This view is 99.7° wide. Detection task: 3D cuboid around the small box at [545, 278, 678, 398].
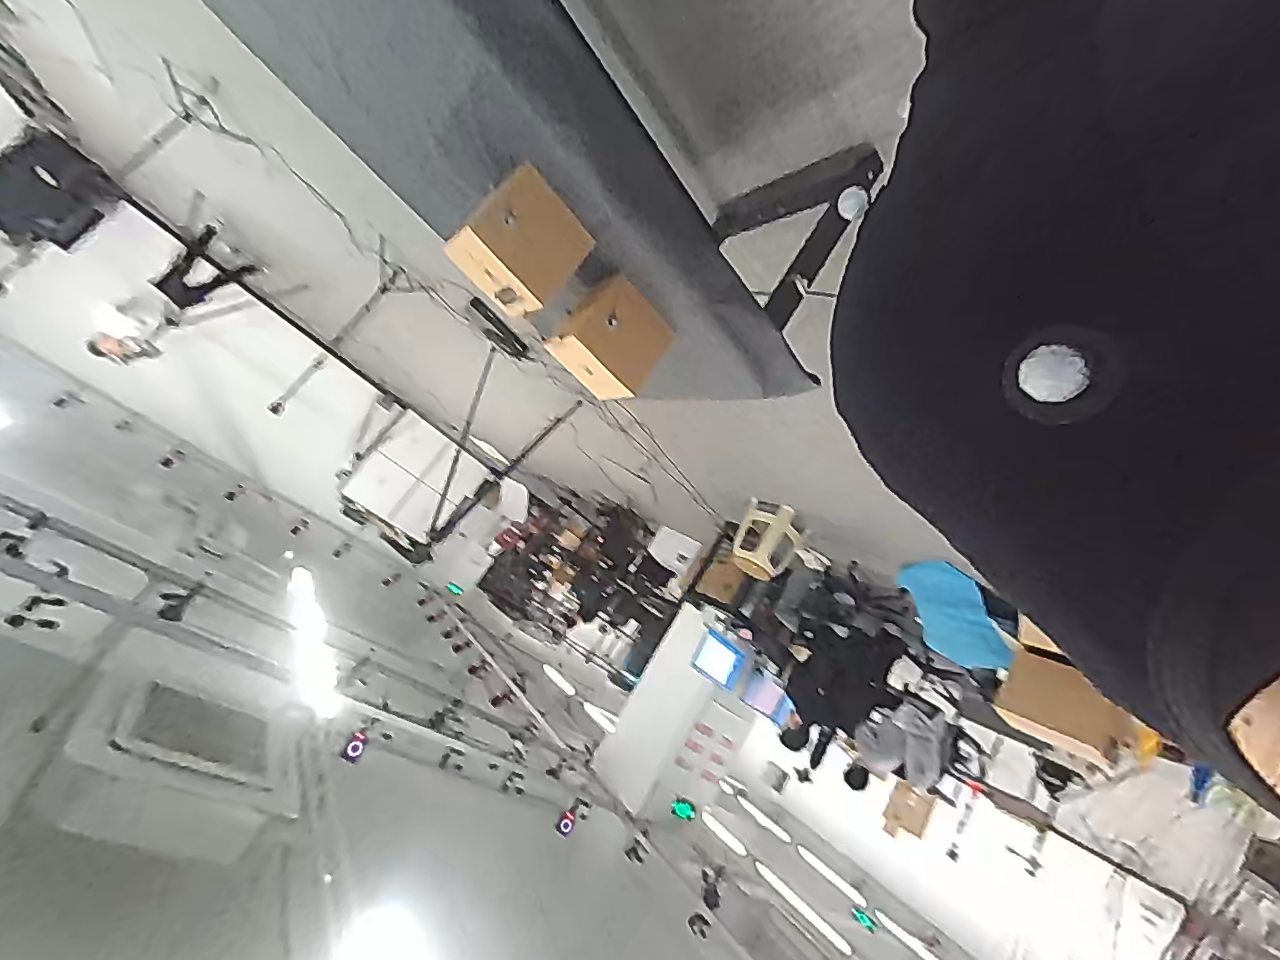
[{"bbox_3d":[-0.057,-0.292,1.115,0.179,0.176,0.168,41,165,-28],"label":"small box"}]
